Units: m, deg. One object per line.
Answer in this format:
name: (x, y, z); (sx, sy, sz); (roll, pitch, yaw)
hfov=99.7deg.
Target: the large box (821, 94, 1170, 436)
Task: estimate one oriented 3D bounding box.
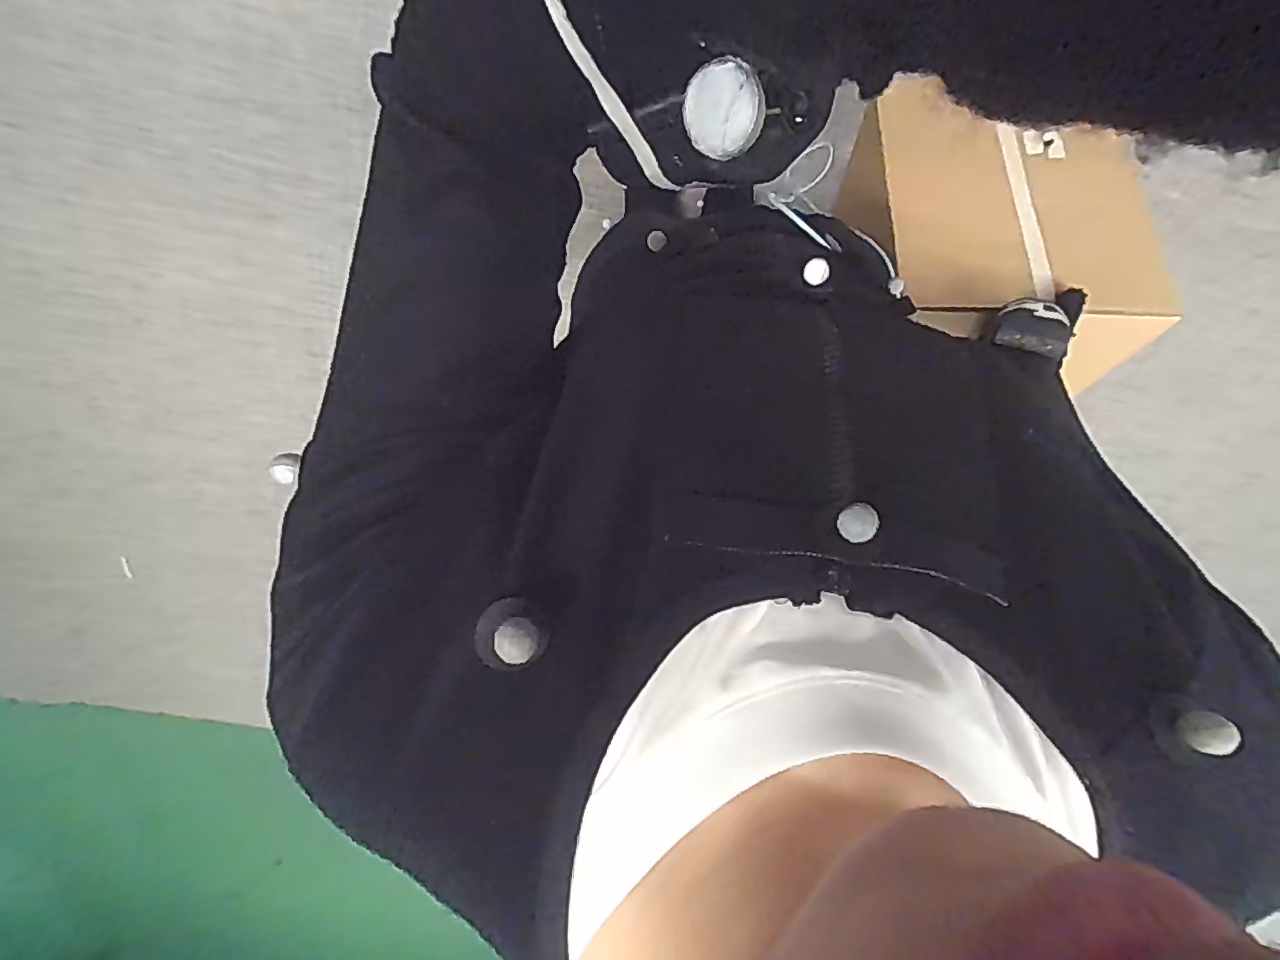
large box: (0.484, -0.312, 0.845); (0.320, 0.408, 0.320); (3, 158, 4)
